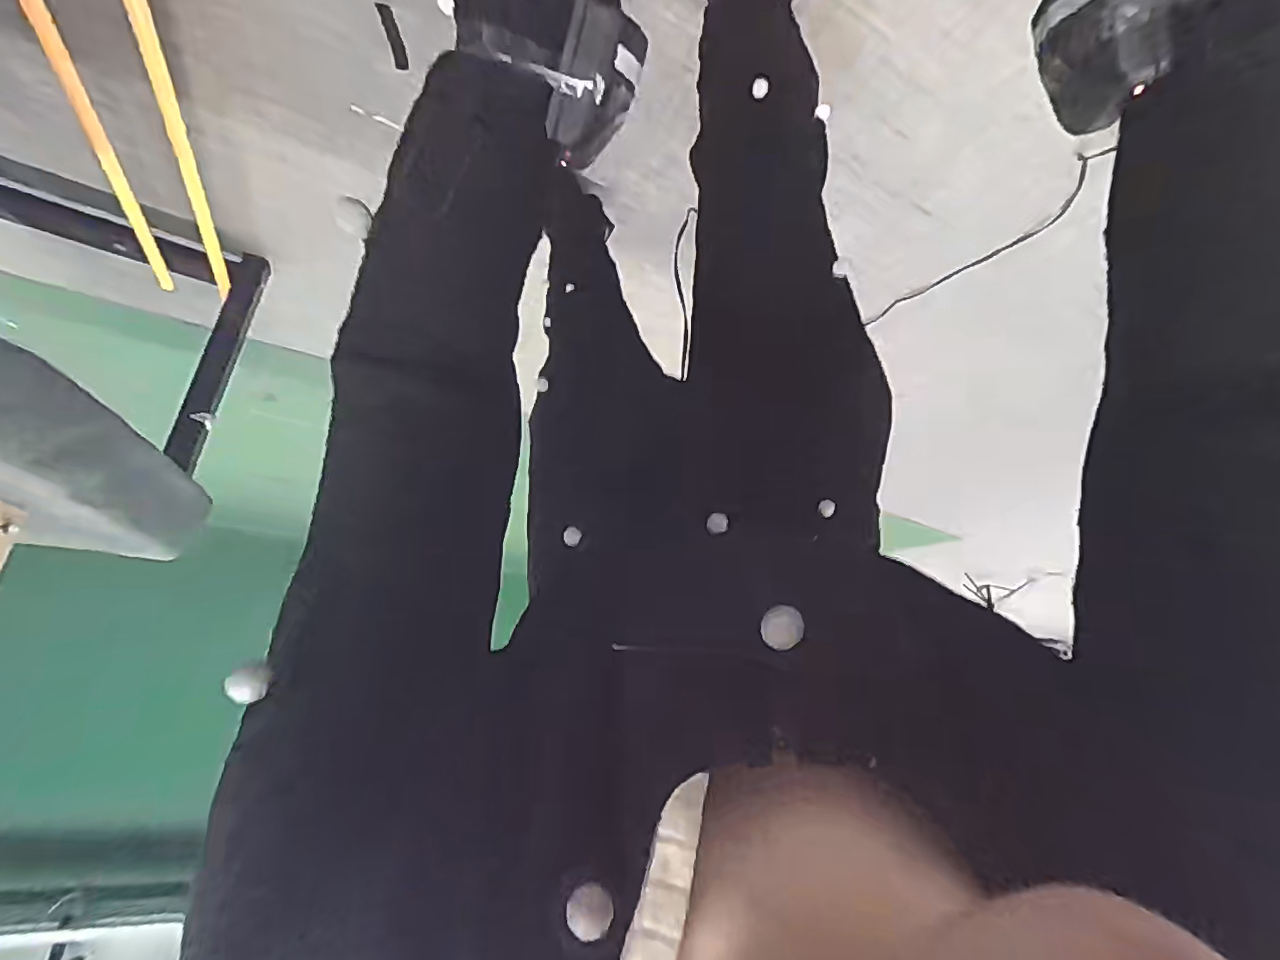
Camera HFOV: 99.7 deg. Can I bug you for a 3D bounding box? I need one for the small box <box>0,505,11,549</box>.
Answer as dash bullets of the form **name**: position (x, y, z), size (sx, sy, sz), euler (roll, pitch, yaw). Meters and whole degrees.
- **small box**: position (-0.951, 0.078, 0.664), size (0.179, 0.176, 0.168), euler (14, 158, -20)
